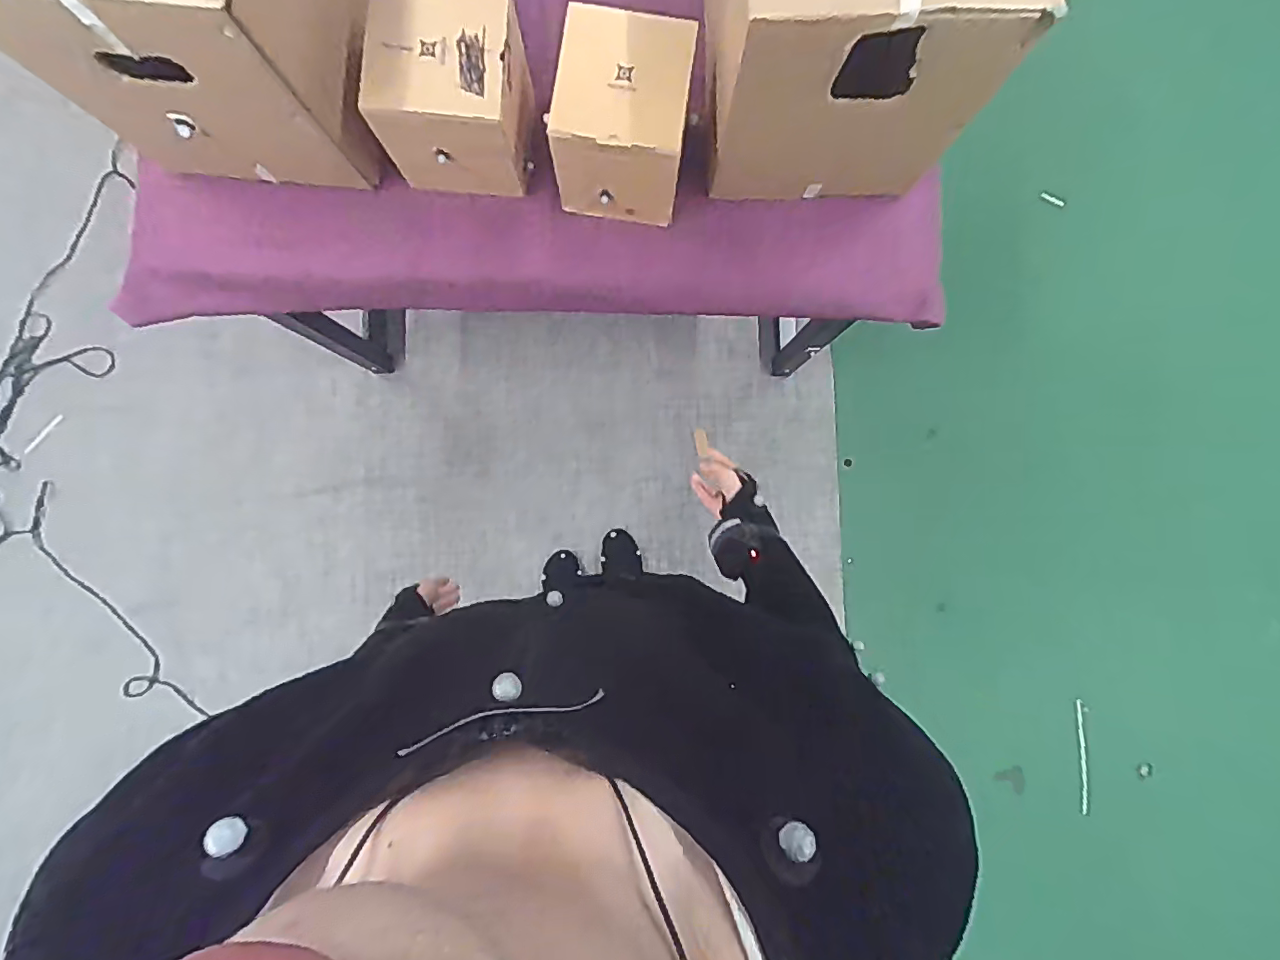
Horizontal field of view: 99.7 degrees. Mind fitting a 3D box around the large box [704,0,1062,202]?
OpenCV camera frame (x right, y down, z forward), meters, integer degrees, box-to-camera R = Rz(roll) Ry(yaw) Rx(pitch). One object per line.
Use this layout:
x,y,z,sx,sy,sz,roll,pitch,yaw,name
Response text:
0.259,-0.635,0.692,0.320,0.320,0.408,-1,88,1,large box
